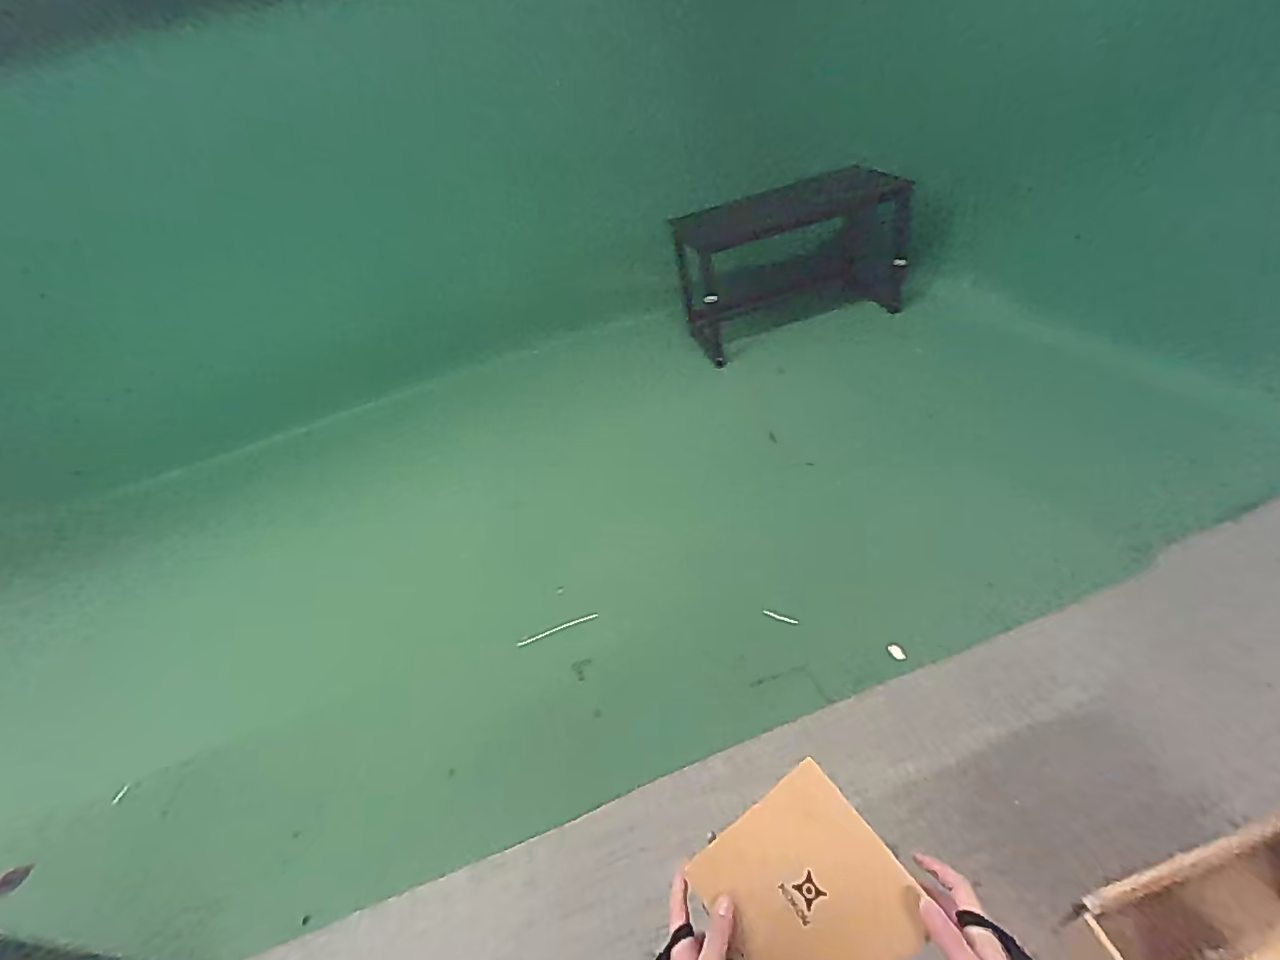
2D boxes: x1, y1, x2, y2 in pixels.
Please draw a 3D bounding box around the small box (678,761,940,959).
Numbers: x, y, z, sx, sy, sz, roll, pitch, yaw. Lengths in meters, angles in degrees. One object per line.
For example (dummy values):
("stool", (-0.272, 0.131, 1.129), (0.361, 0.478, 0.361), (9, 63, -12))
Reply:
("small box", (0.168, 0.430, 0.557), (0.179, 0.176, 0.168), (-38, 51, -9))
